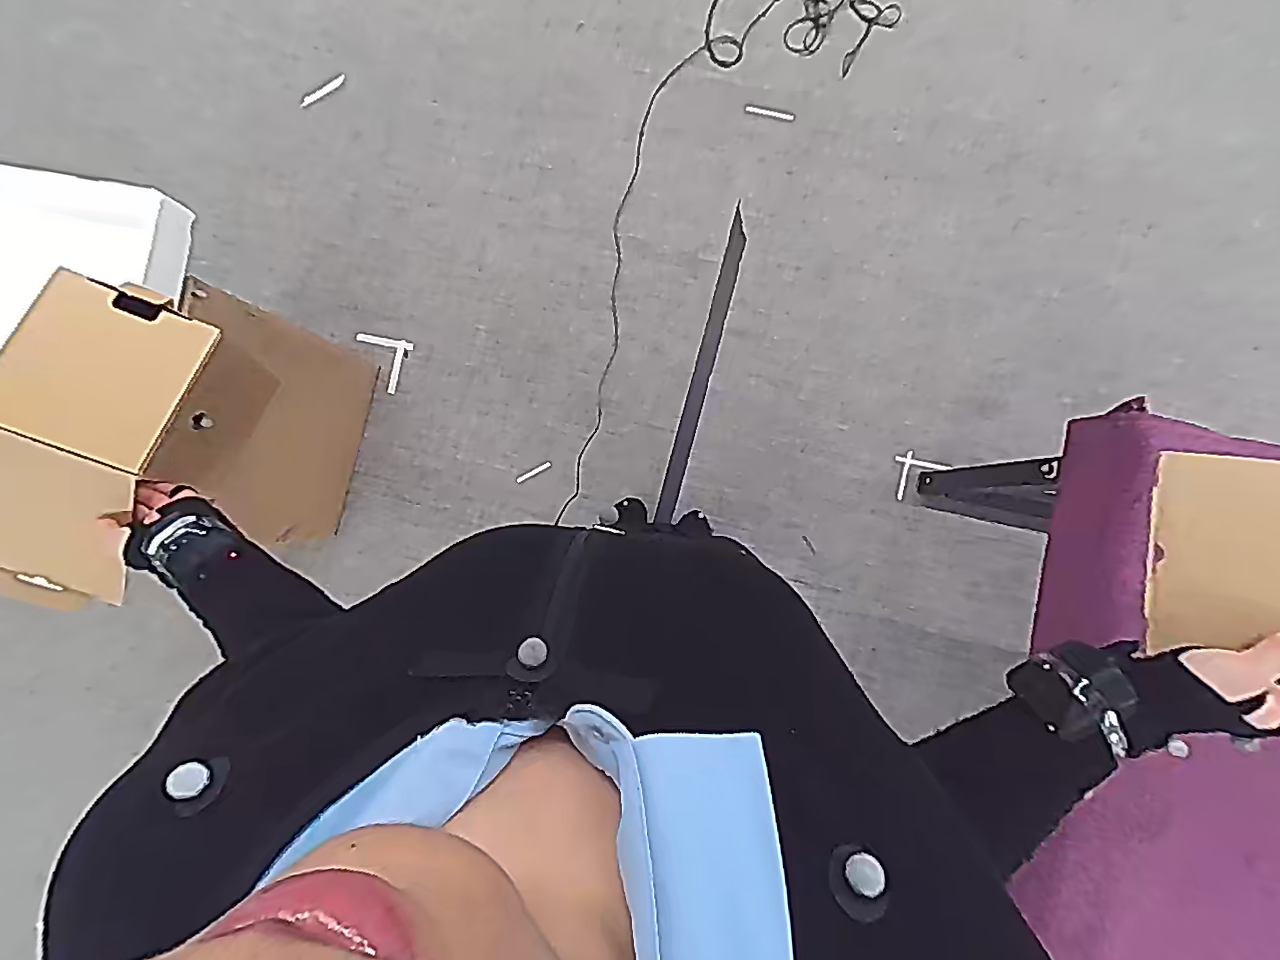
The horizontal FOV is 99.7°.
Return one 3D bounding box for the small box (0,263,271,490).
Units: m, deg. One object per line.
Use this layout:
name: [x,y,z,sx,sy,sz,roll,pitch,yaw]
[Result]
small box: [-0.569,-0.100,0.619,0.168,0.176,0.179,23,77,-10]
